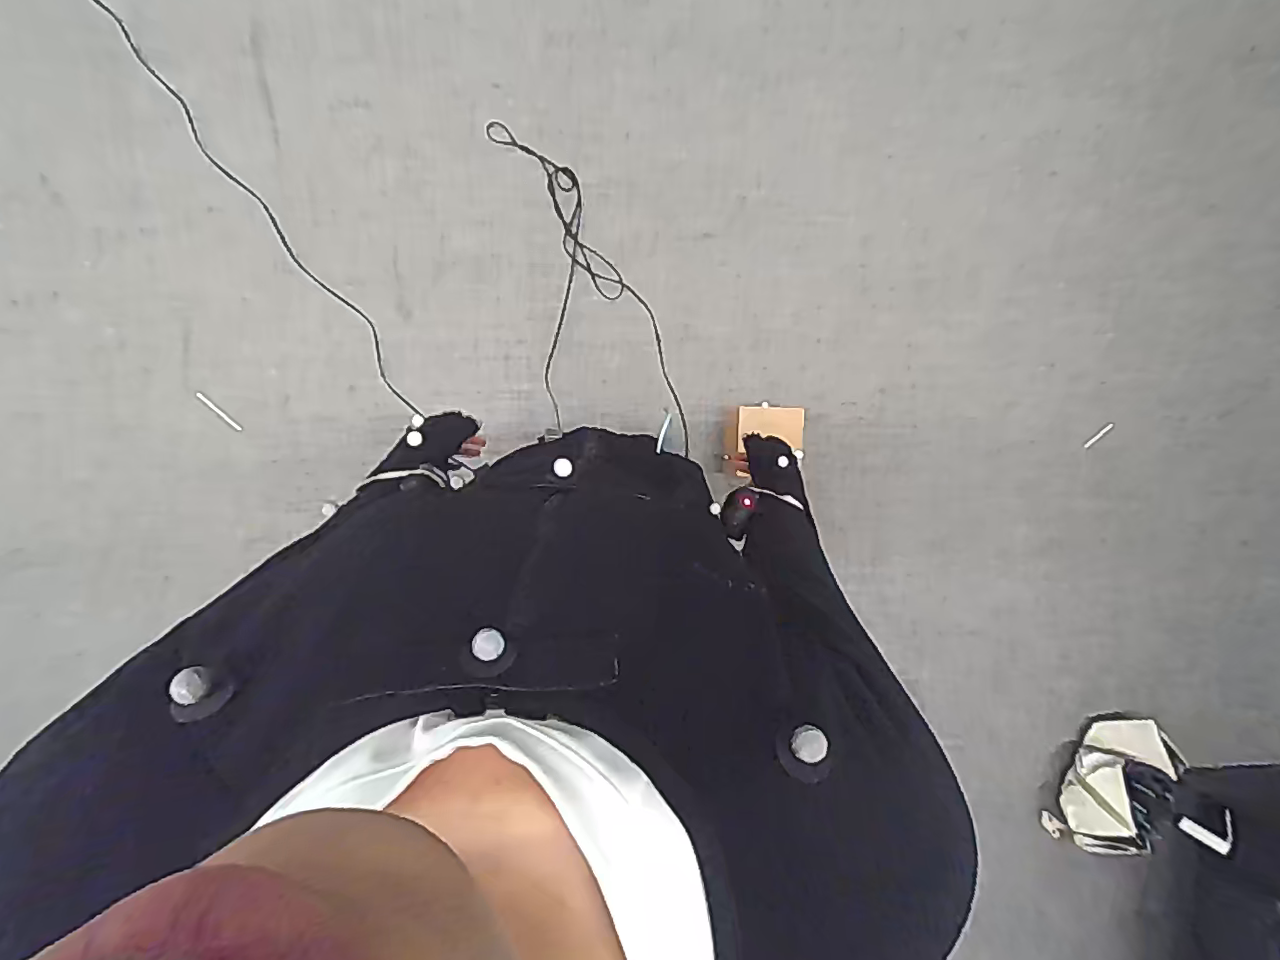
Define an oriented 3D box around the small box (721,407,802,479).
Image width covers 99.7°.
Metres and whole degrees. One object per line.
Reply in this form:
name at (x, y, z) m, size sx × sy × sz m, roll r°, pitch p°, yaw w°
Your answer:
small box at (0.311, -0.100, 1.419) m, size 0.168 × 0.176 × 0.179 m, roll 2°, pitch 96°, yaw -4°
